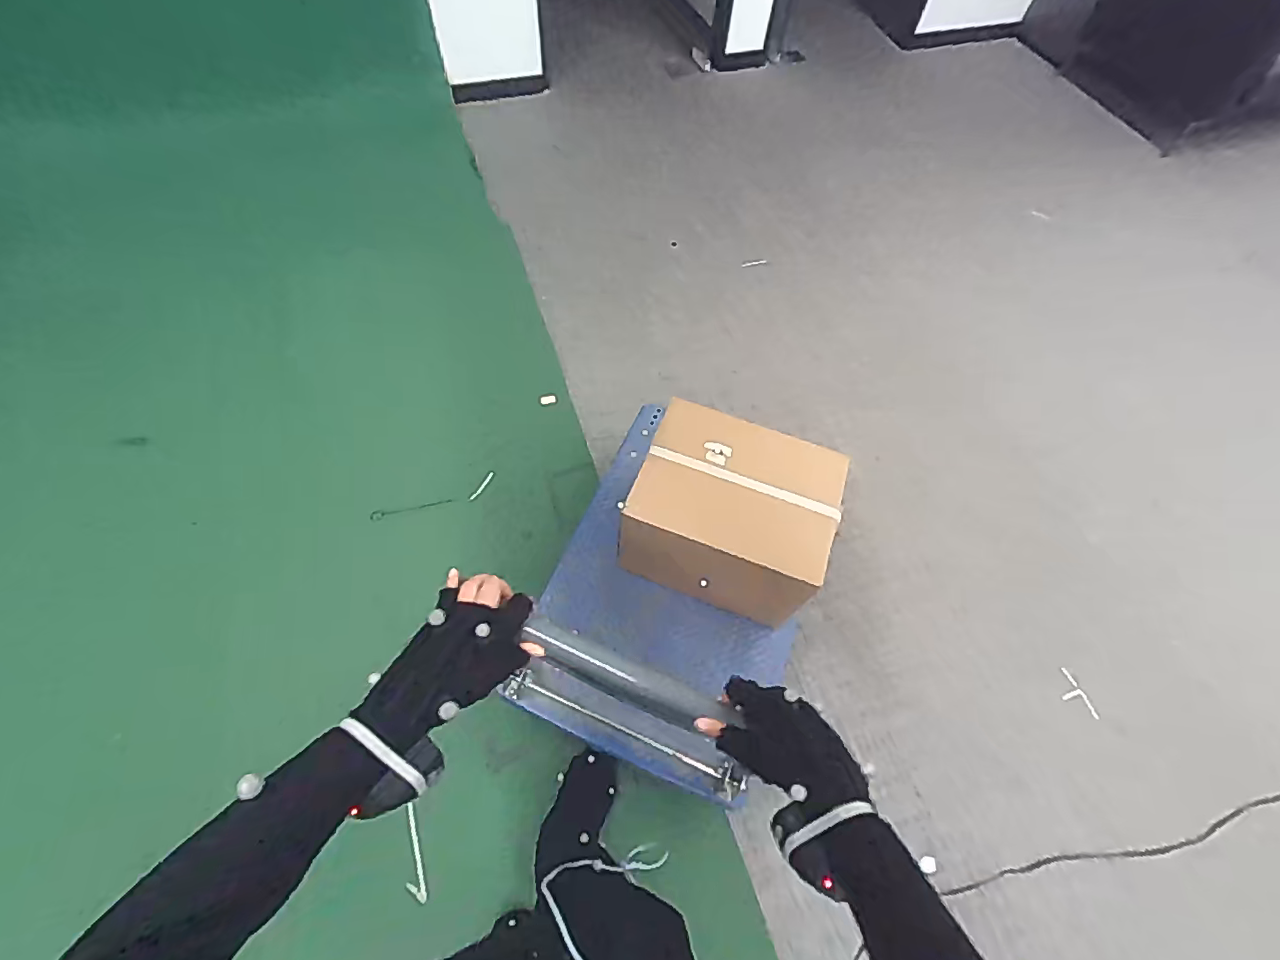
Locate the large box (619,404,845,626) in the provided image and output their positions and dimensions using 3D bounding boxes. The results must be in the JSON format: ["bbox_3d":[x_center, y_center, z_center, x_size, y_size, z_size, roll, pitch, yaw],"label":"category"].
[{"bbox_3d":[0.194,0.089,1.228,0.408,0.320,0.320,20,61,9],"label":"large box"}]
